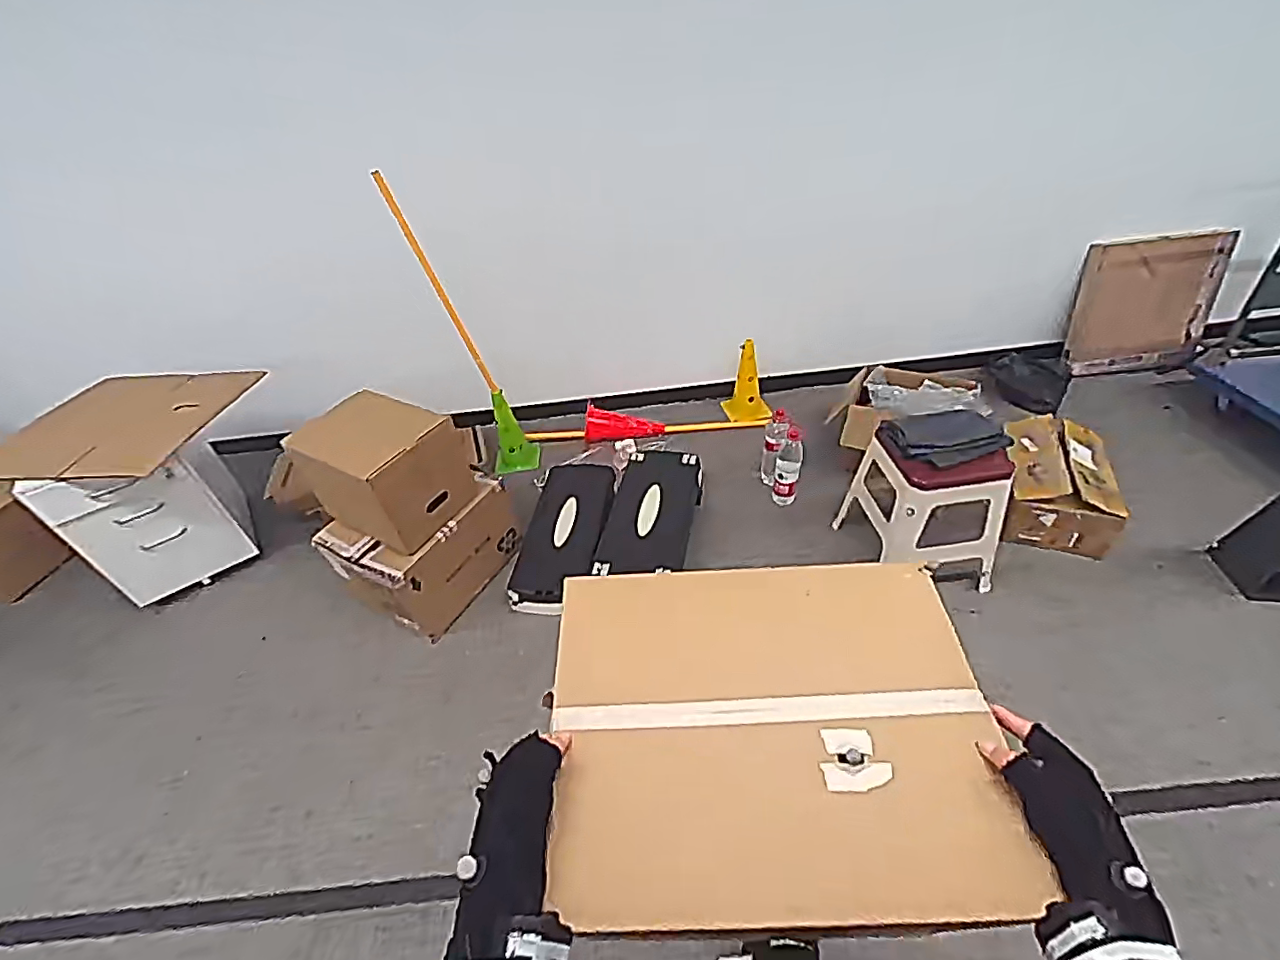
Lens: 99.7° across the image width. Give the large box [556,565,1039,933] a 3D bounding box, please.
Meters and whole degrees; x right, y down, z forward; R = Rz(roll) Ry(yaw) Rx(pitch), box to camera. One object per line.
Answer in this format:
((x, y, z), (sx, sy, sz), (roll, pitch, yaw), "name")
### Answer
((0.128, 0.324, 0.646), (0.408, 0.320, 0.320), (-3, 49, 1), "large box")
